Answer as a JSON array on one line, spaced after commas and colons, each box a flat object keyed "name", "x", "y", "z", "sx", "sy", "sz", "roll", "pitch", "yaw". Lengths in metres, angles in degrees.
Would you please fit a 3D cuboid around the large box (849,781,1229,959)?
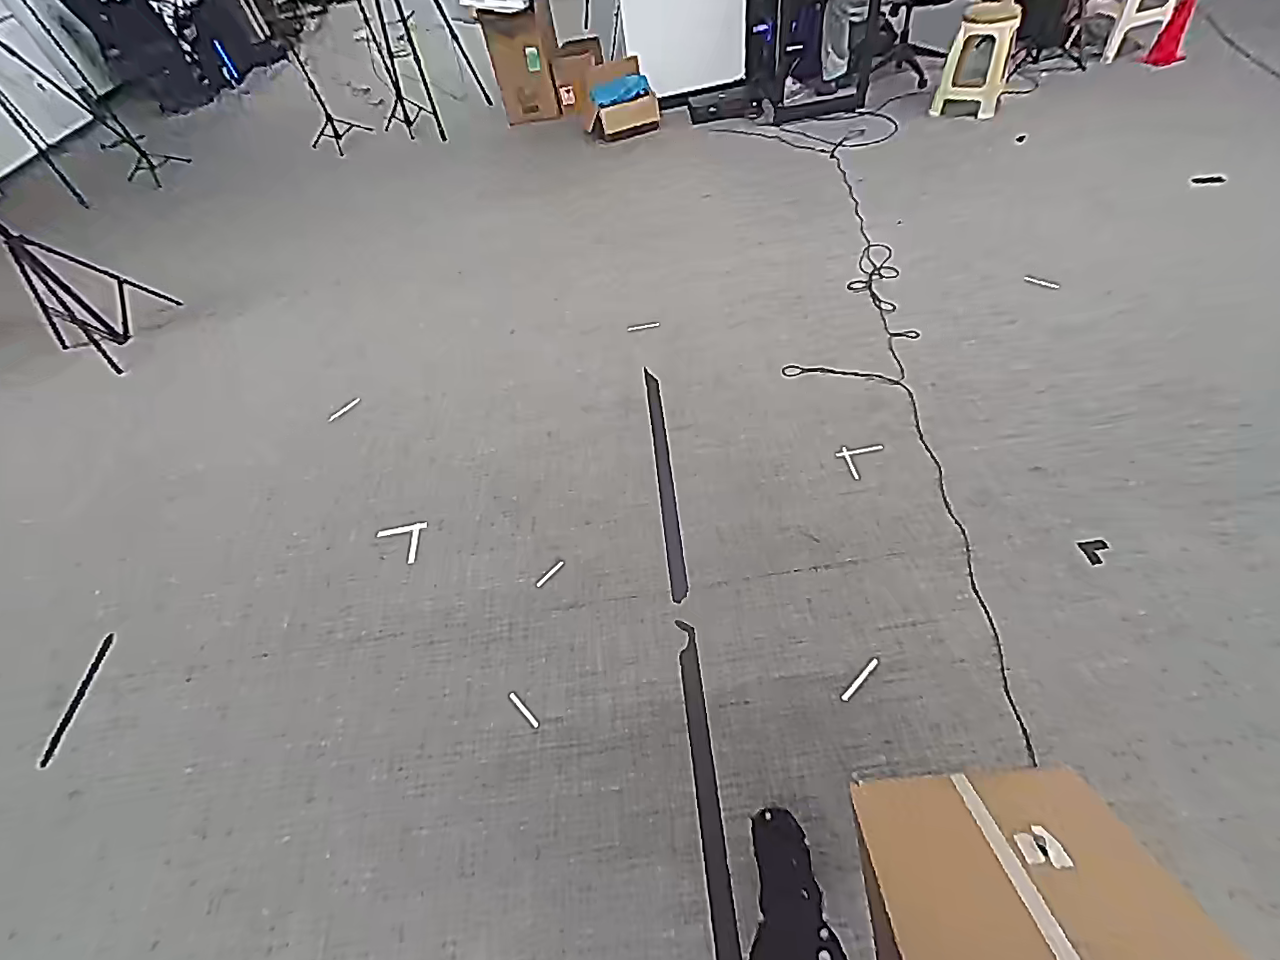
[{"name": "large box", "x": 0.473, "y": 0.639, "z": 0.637, "sx": 0.320, "sy": 0.320, "sz": 0.408, "roll": -8, "pitch": 7, "yaw": 9}]
